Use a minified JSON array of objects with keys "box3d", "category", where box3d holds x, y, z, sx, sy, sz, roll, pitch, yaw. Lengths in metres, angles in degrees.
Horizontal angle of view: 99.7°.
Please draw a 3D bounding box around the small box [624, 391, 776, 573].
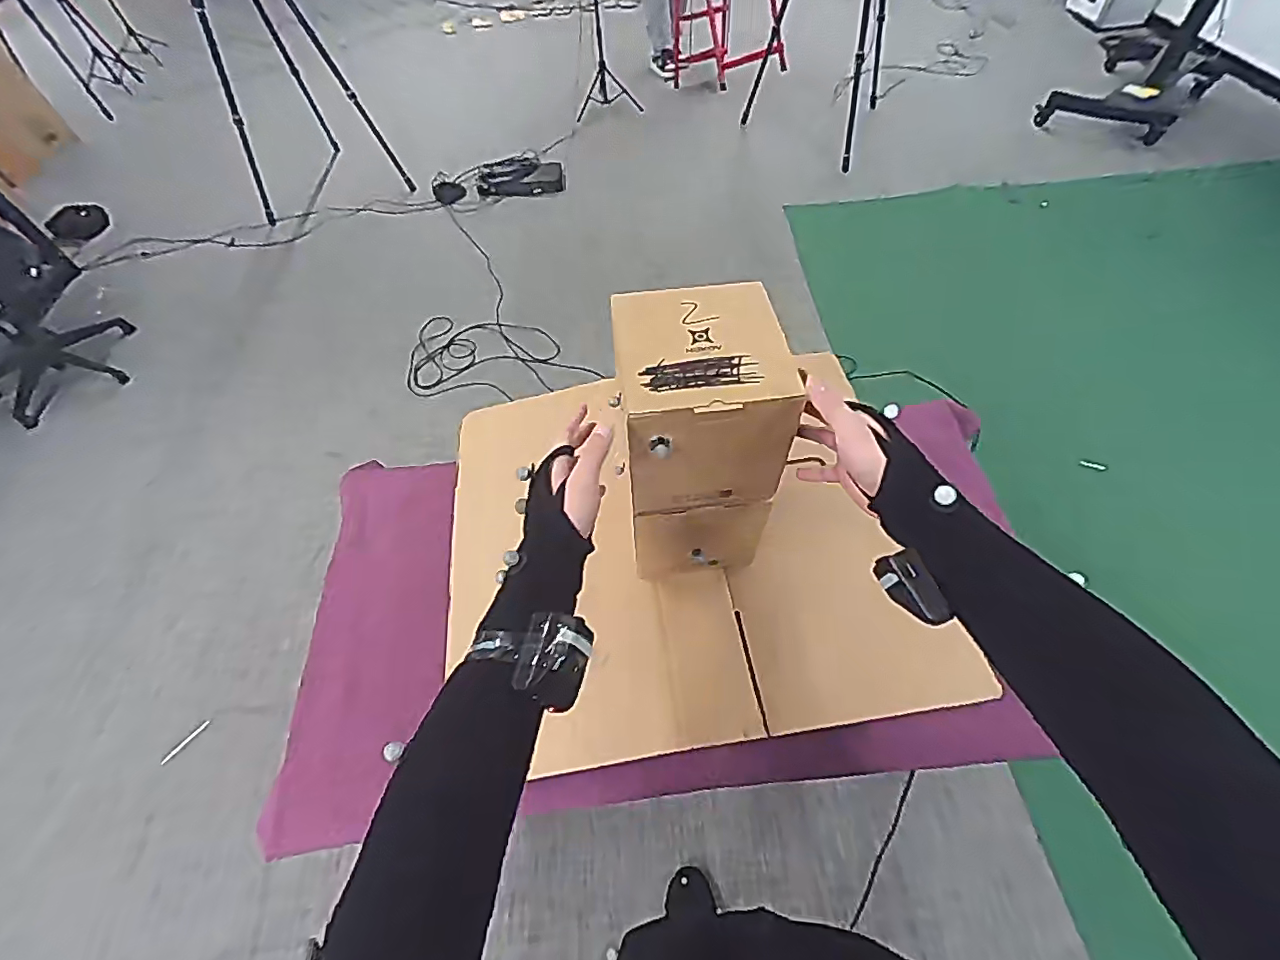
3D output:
[{"box3d":[0.068,0.006,0.726,0.168,0.176,0.179,-6,56,-2],"category":"small box"}]
